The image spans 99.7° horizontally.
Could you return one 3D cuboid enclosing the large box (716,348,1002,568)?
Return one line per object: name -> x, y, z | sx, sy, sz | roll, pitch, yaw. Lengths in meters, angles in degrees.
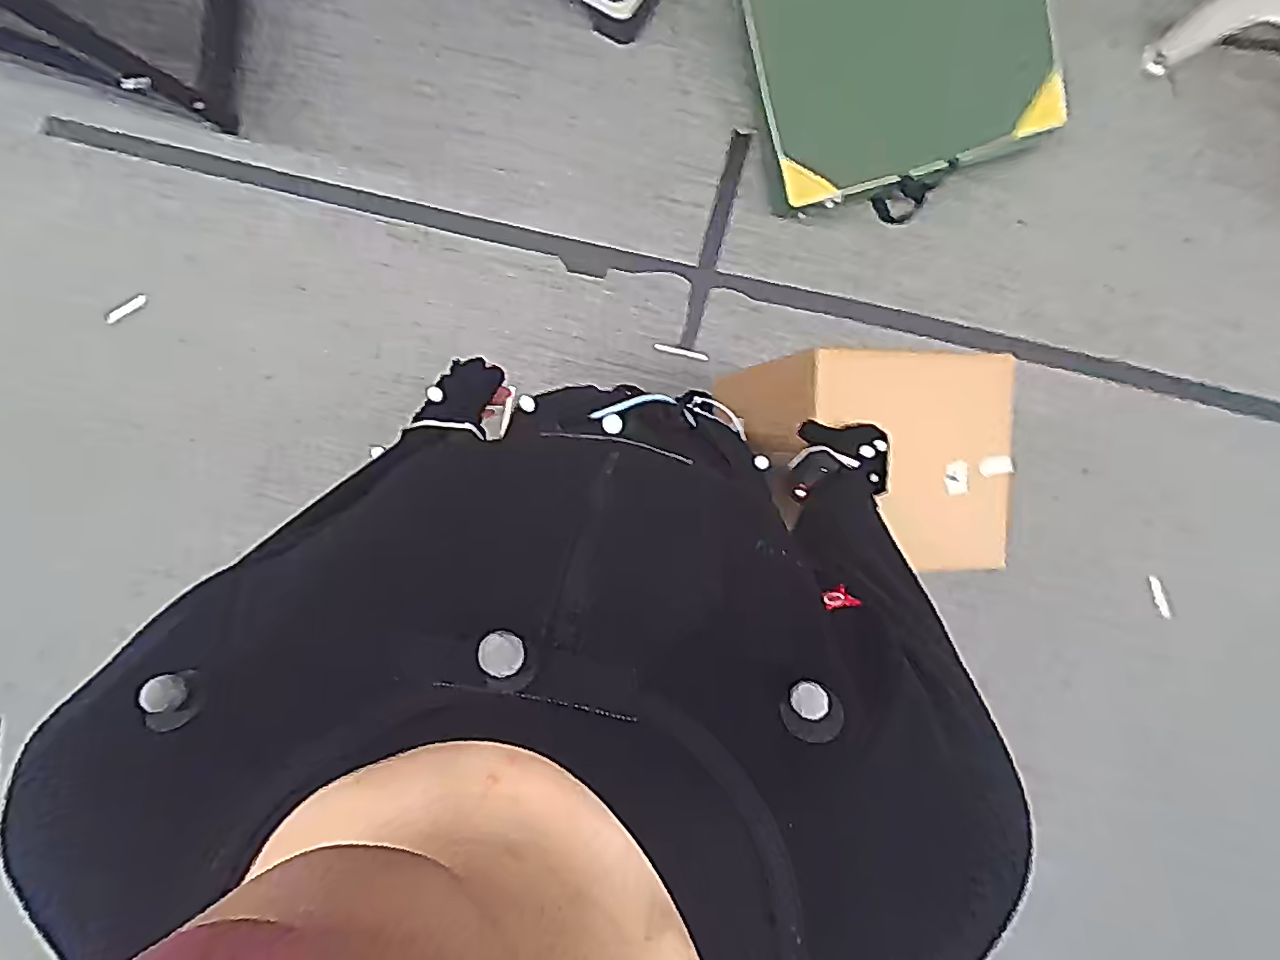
large box -> 0.349, -0.039, 0.960 | 0.320, 0.408, 0.320 | 1, 94, -10
